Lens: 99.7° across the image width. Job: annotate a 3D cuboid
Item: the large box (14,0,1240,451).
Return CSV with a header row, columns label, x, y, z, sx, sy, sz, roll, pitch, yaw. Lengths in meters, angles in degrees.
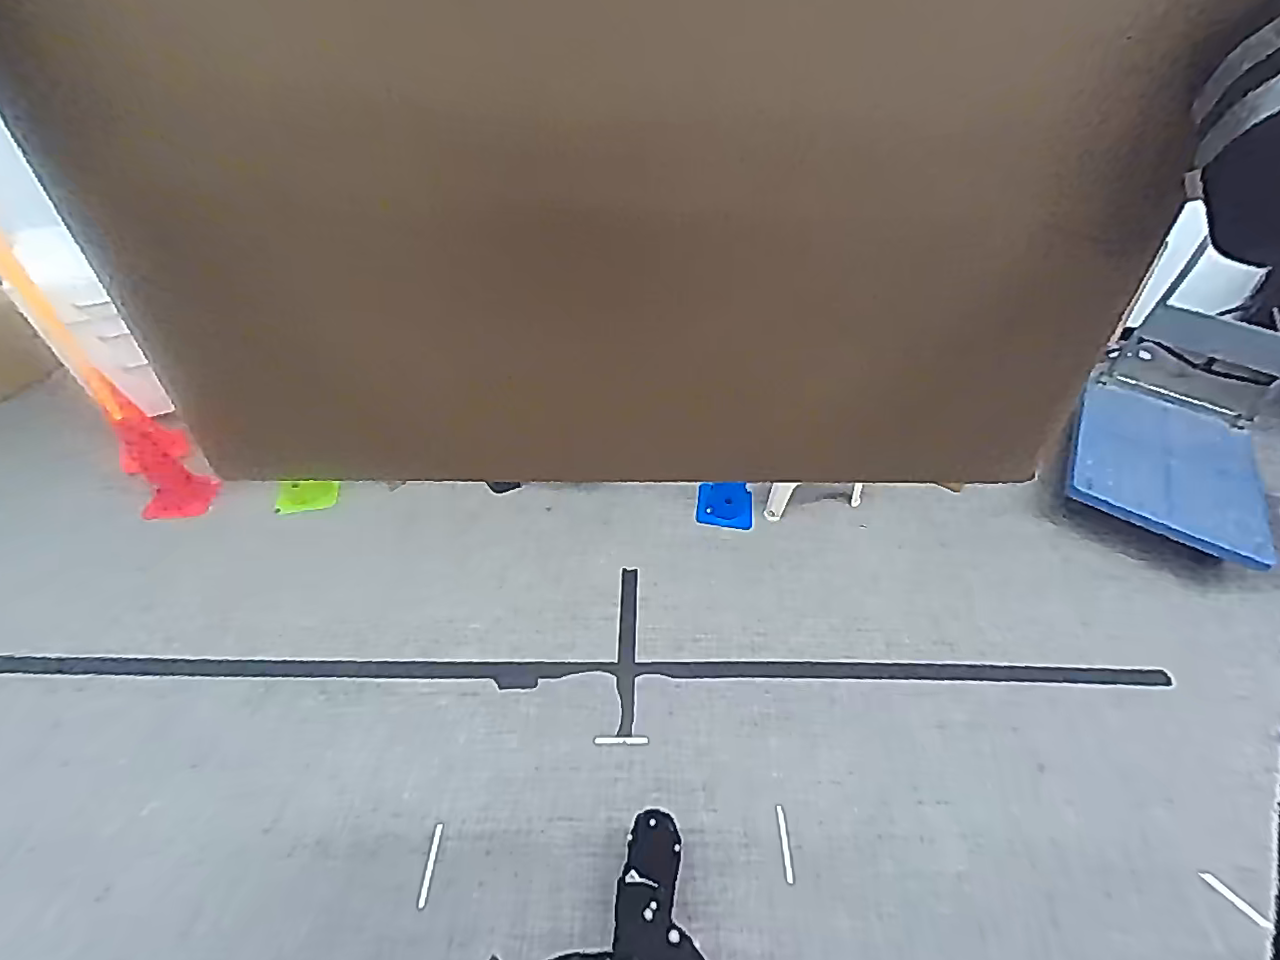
label,x,y,z,sx,sy,sz,roll,pitch,yaw
large box,-0.005,-0.223,0.304,0.408,0.320,0.320,1,38,-1
